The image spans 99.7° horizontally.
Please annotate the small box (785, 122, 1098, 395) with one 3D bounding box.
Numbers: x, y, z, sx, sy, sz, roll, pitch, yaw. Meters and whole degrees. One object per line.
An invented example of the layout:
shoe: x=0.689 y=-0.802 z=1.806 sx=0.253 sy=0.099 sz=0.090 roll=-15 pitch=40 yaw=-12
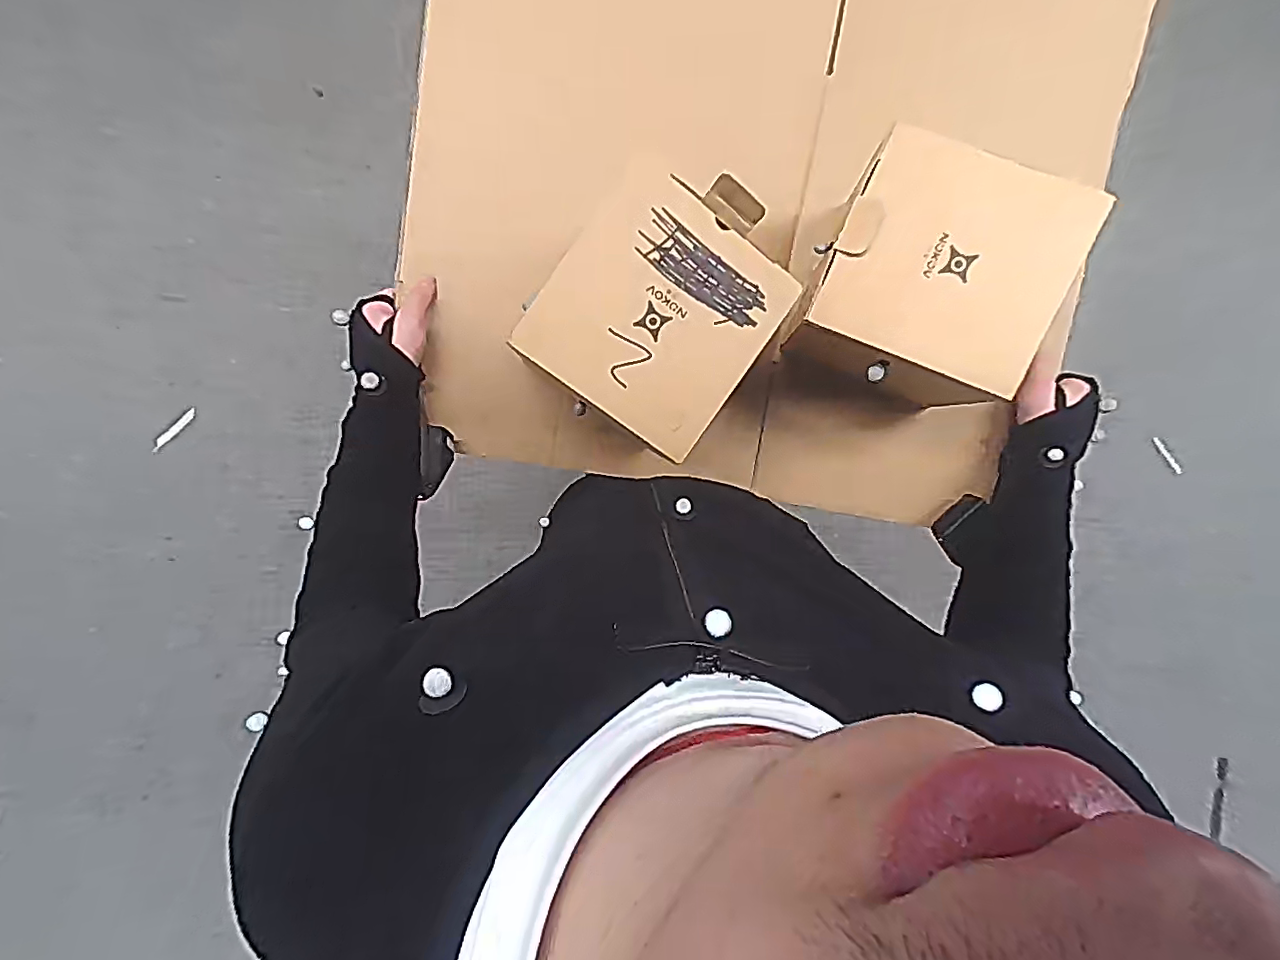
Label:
small box: x=0.257 y=-0.188 z=0.514 sx=0.179 sy=0.176 sz=0.168 roll=24 pitch=99 yaw=6
